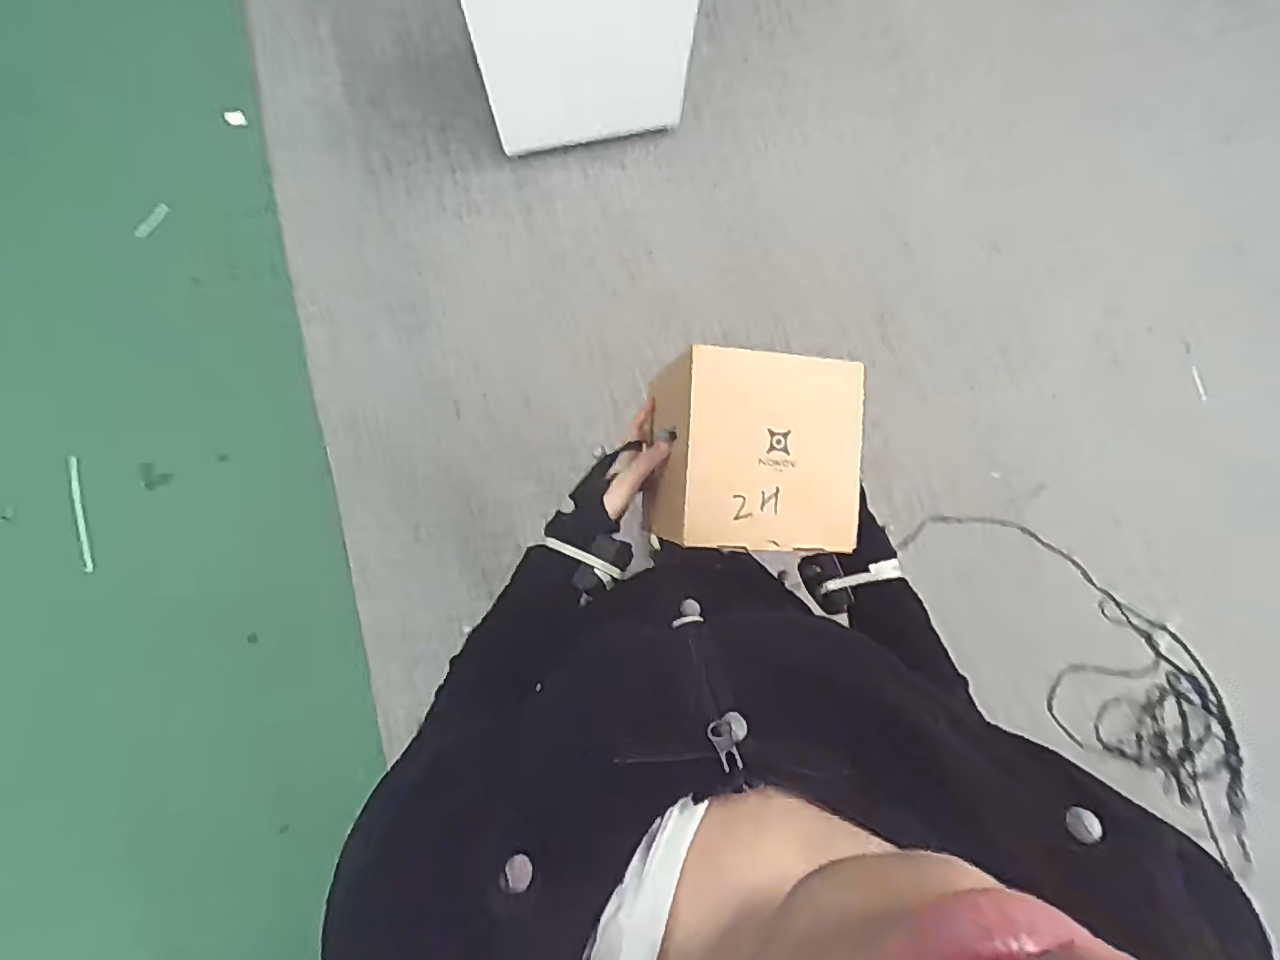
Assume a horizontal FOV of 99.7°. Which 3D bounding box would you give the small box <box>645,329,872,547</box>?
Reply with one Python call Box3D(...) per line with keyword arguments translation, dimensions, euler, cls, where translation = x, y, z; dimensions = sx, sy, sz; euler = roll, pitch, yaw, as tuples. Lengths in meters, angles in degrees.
Box3D(translation=(0.104, -0.030, 0.535), dimensions=(0.168, 0.176, 0.179), euler=(4, 87, -11), cls="small box")
